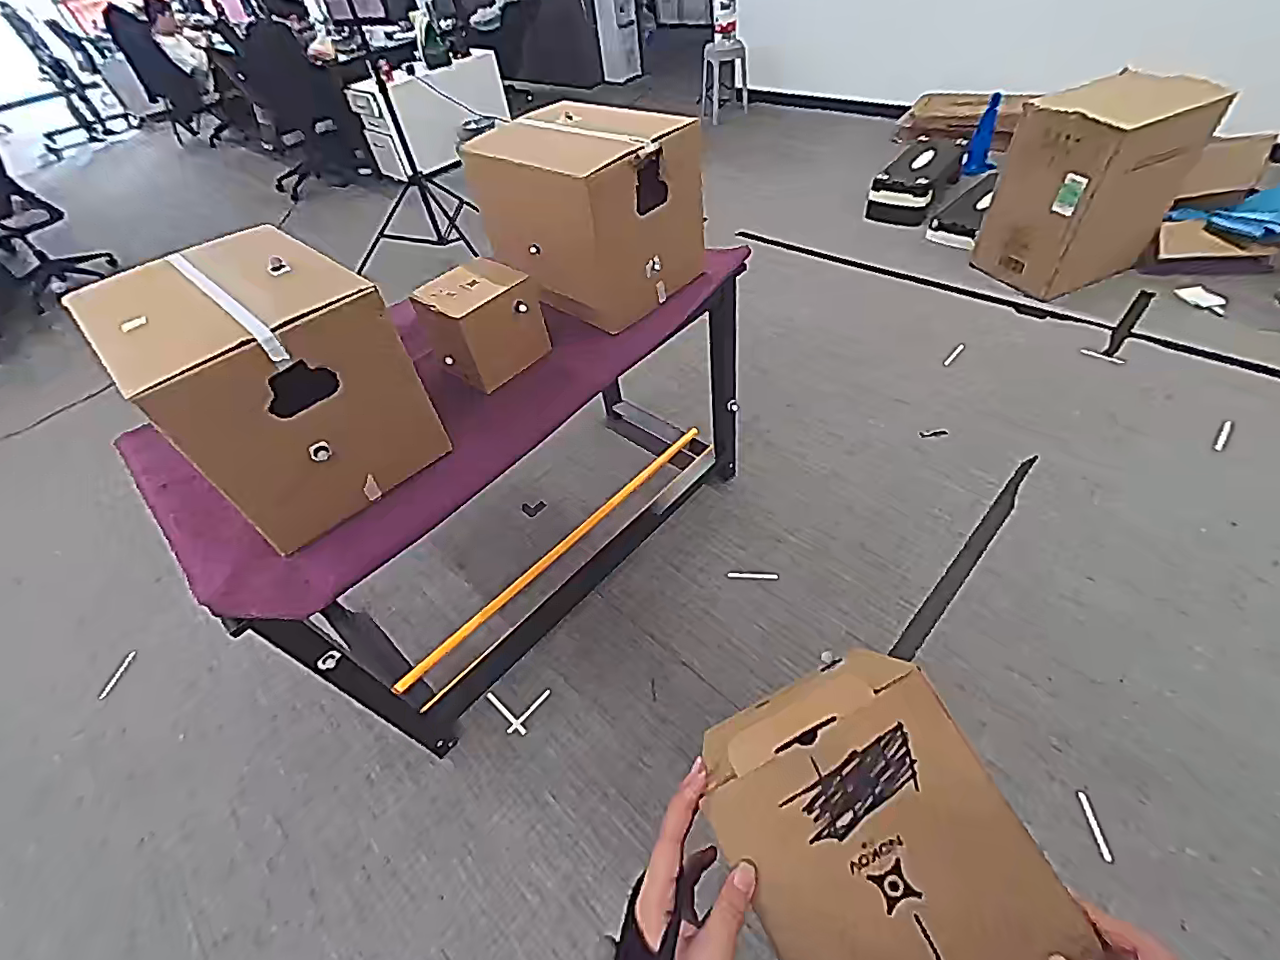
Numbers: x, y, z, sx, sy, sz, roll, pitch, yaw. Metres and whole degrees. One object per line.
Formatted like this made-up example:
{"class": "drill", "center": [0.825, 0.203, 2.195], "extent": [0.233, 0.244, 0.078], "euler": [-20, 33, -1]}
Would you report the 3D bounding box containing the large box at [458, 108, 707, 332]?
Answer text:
{"class": "large box", "center": [-0.107, -0.573, 1.177], "extent": [0.408, 0.320, 0.320], "euler": [31, 59, 32]}
